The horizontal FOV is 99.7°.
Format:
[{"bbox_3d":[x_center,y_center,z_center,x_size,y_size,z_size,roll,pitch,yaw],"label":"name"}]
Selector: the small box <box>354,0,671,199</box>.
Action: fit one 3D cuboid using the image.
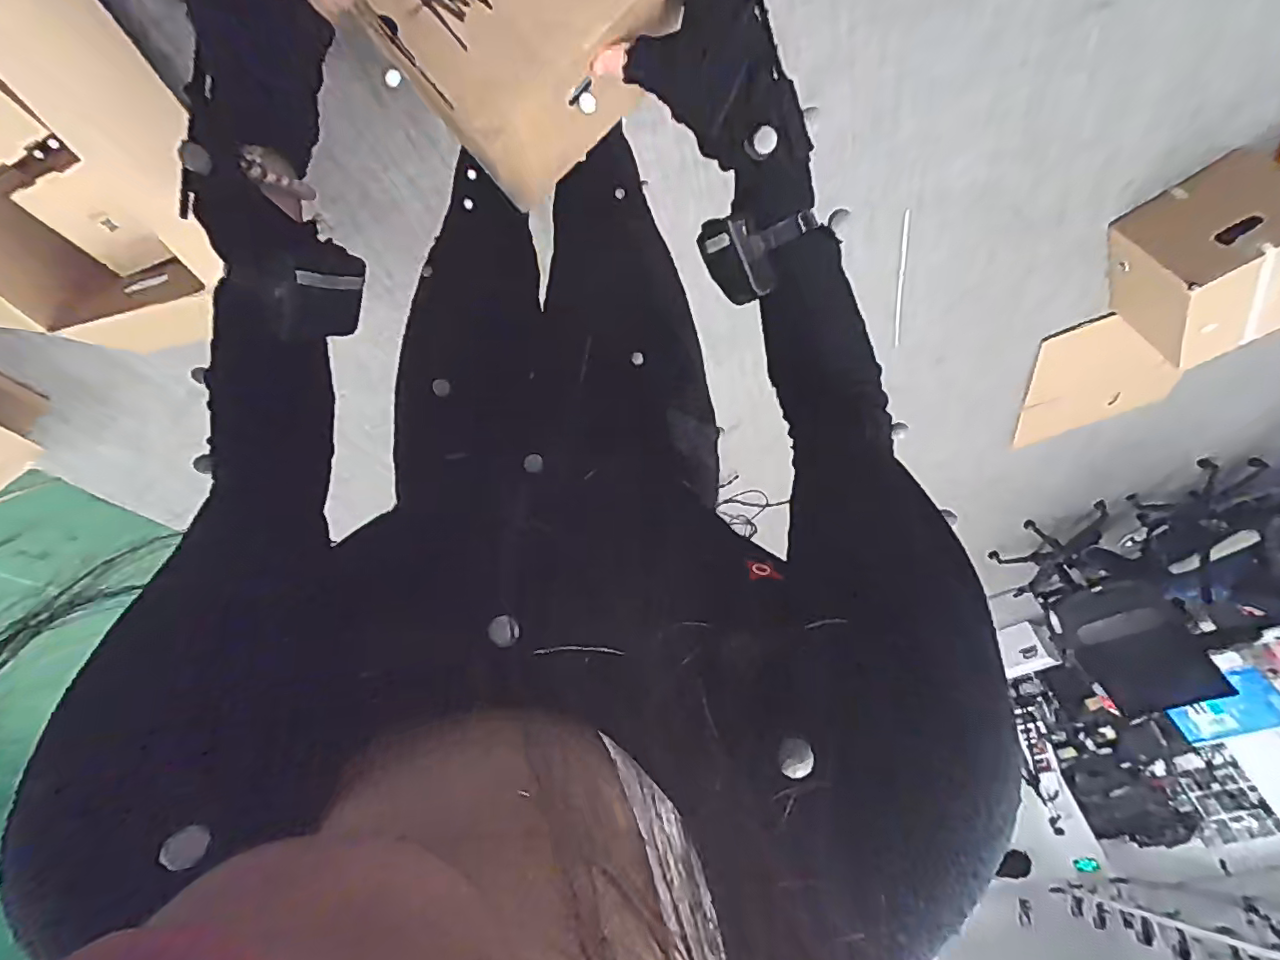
[{"bbox_3d":[-0.088,-0.341,0.390,0.179,0.176,0.168,-42,105,7],"label":"small box"}]
